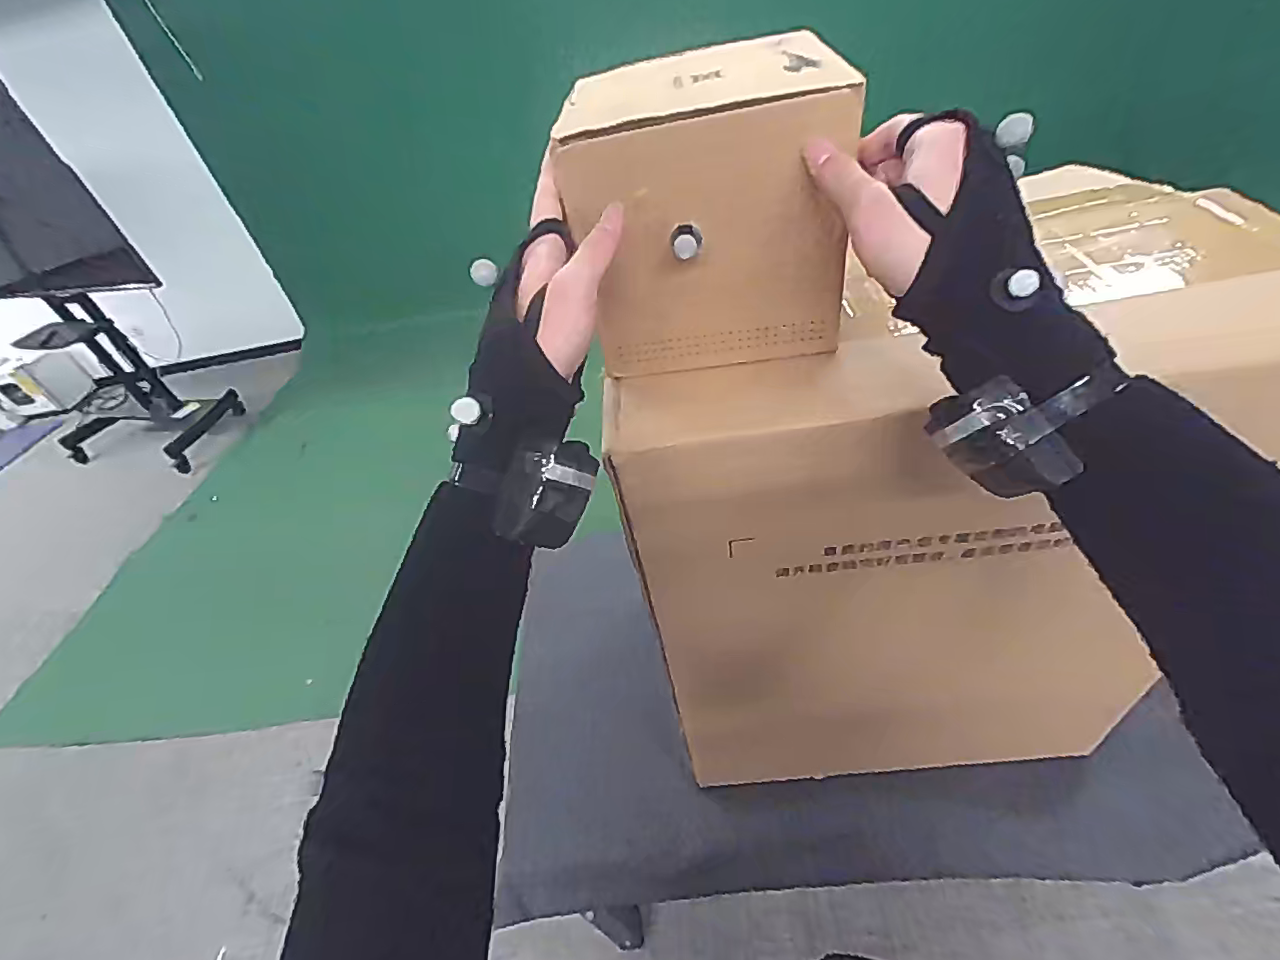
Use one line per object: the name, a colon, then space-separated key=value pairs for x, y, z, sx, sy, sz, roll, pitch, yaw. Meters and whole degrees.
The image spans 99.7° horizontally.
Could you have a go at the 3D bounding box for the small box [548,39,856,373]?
small box: x=0.049 y=-0.198 z=0.409 sx=0.179 sy=0.176 sz=0.168 roll=-6 pitch=47 yaw=9
